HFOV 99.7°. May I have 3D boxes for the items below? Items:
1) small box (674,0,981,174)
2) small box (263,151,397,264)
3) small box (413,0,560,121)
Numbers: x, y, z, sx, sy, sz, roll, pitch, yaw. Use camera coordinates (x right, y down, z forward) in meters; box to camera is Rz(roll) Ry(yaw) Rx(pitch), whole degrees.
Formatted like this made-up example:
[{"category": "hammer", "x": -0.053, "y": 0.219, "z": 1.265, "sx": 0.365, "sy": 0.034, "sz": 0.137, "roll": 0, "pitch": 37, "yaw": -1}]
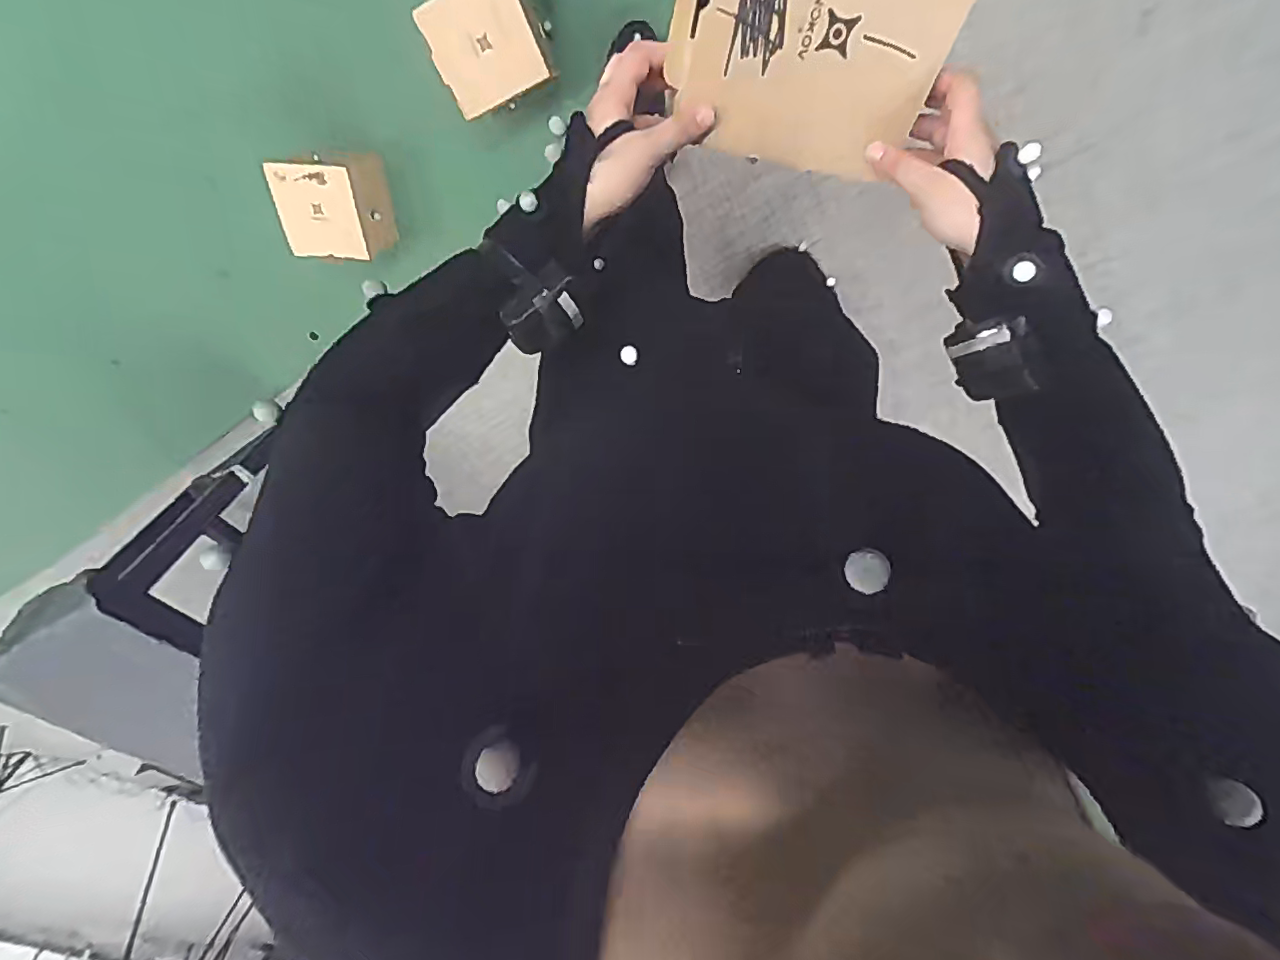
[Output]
[{"category": "small box", "x": 0.128, "y": -0.361, "z": 0.404, "sx": 0.179, "sy": 0.176, "sz": 0.168, "roll": 7, "pitch": 137, "yaw": -9}, {"category": "small box", "x": -0.637, "y": -0.575, "z": 1.140, "sx": 0.168, "sy": 0.176, "sz": 0.179, "roll": 3, "pitch": 129, "yaw": 0}, {"category": "small box", "x": -0.261, "y": -0.777, "z": 0.968, "sx": 0.179, "sy": 0.176, "sz": 0.168, "roll": -19, "pitch": 127, "yaw": 14}]
